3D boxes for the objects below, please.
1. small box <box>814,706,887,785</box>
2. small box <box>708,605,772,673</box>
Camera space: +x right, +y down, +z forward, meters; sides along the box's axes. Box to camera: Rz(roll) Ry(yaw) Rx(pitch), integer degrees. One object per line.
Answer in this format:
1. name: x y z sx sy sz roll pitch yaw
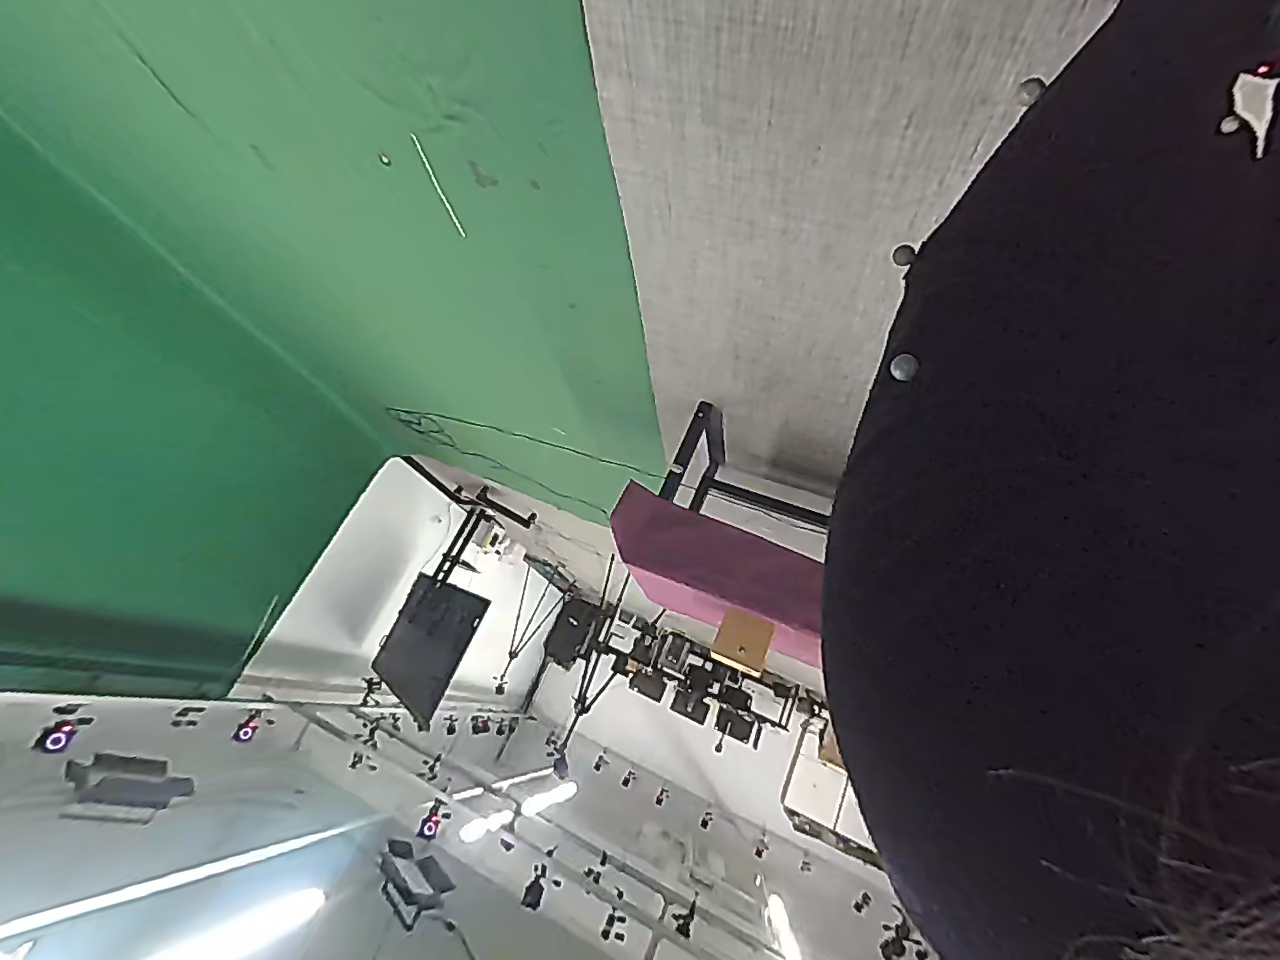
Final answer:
1. small box: 0.666 0.834 1.714 0.168 0.176 0.179 19 159 19
2. small box: 0.349 0.554 1.885 0.179 0.176 0.168 20 160 17
